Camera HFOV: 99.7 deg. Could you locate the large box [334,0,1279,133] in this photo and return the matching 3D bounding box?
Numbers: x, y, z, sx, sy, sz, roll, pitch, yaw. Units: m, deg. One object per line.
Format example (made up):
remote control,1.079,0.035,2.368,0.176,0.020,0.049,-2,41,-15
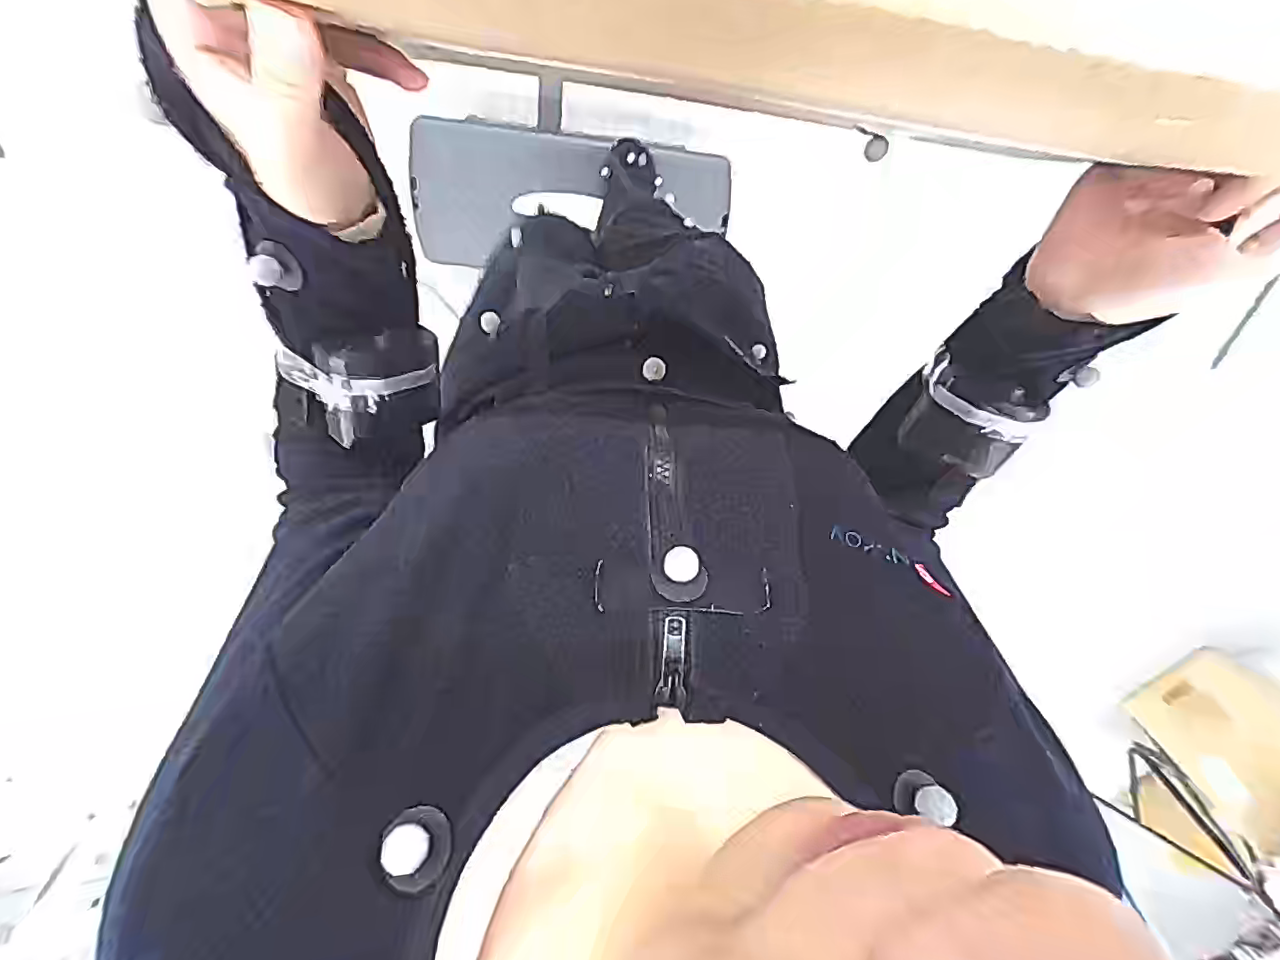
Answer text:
large box,0.082,-0.301,0.135,0.408,0.320,0.320,3,124,-7
